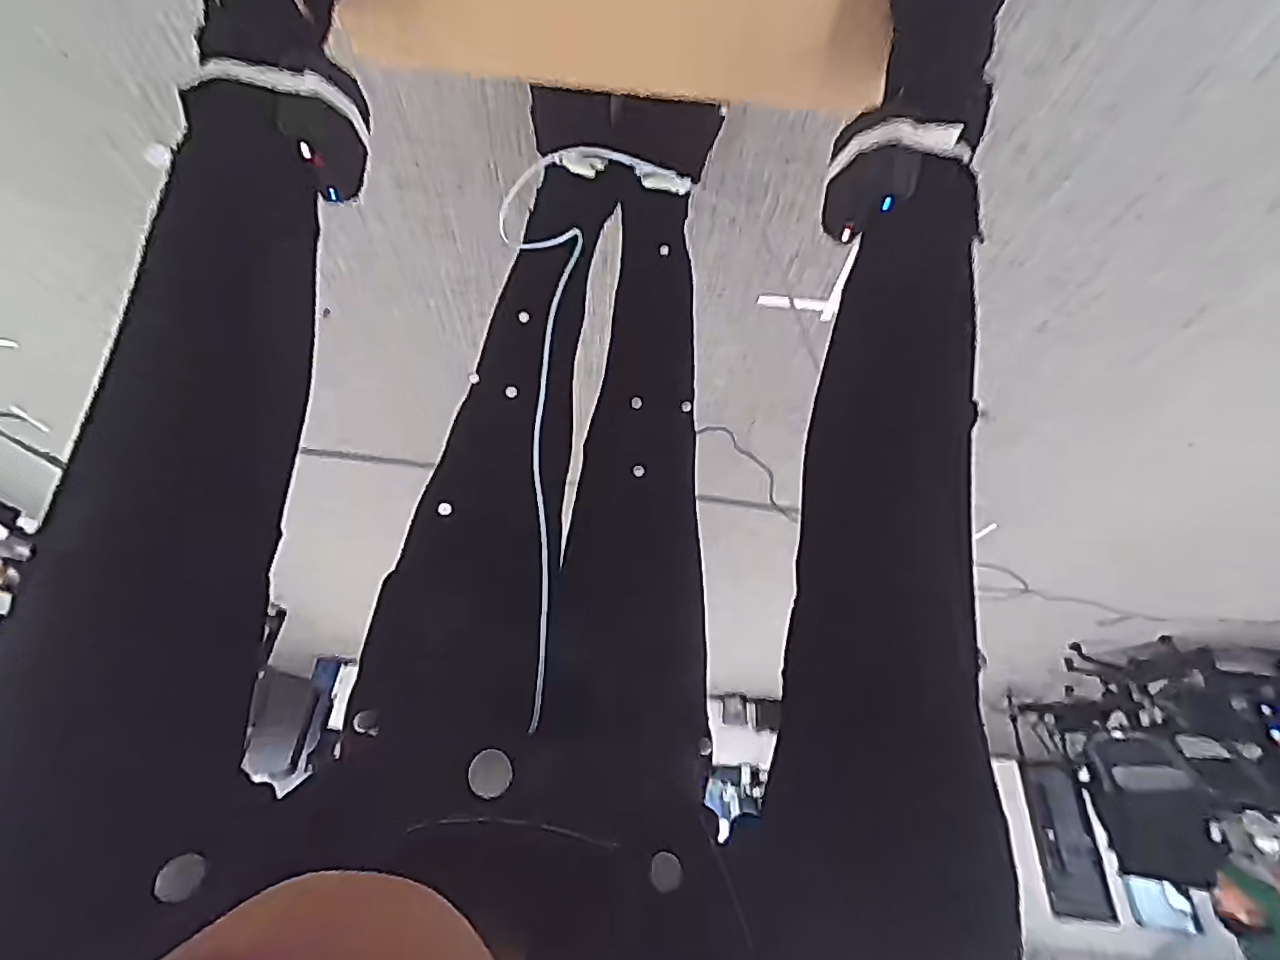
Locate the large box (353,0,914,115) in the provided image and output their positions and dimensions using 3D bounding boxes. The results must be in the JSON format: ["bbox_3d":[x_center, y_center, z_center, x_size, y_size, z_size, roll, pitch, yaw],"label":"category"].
[{"bbox_3d":[0.004,-0.512,0.396,0.408,0.320,0.320,5,143,-1],"label":"large box"}]
